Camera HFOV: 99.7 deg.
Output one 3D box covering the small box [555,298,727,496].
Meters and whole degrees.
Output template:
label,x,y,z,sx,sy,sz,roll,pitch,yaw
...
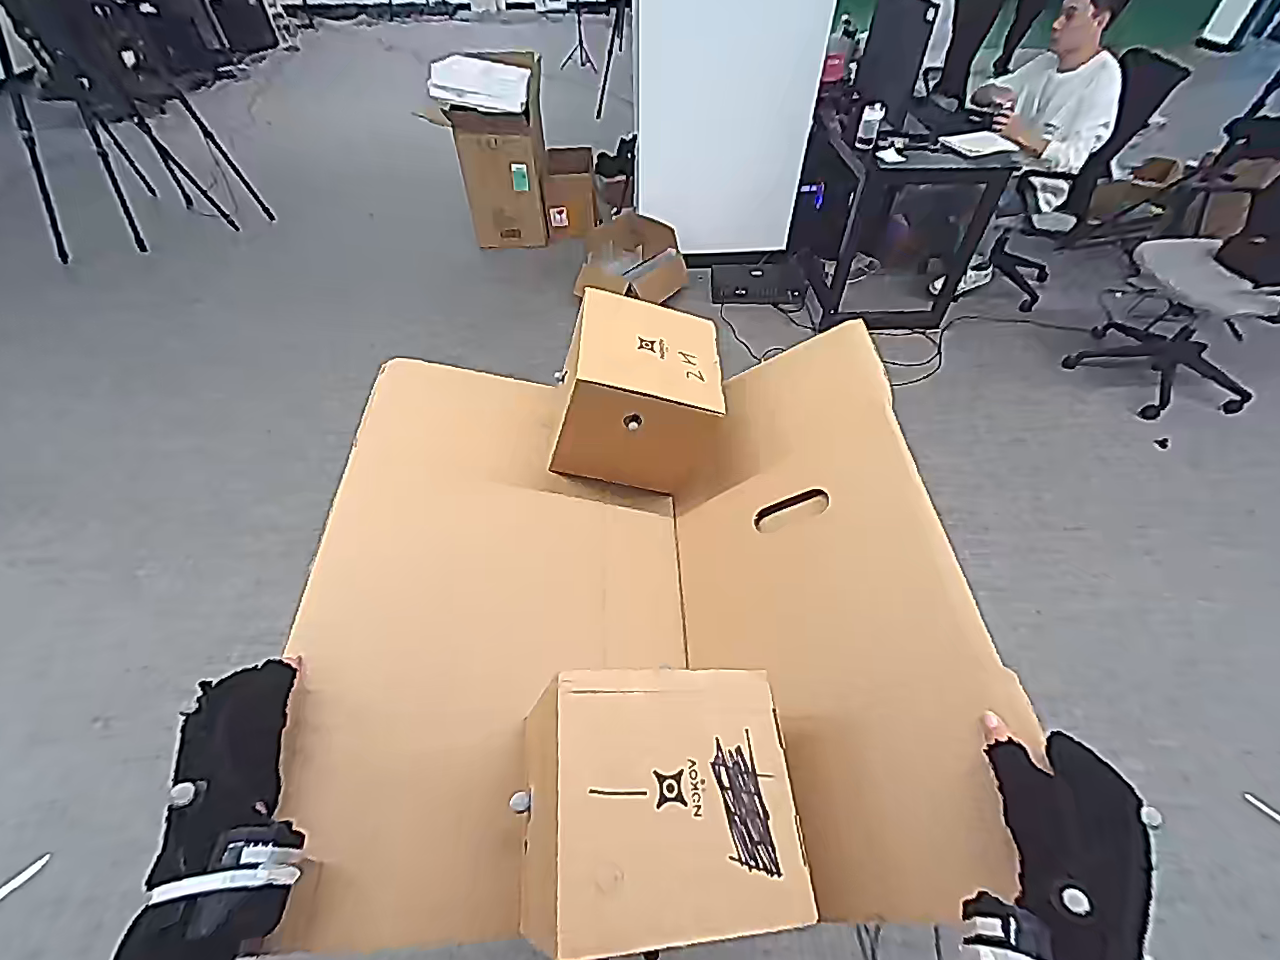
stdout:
label,x,y,z,sx,sy,sz,roll,pitch,yaw
small box,-0.005,-0.098,0.700,0.179,0.176,0.168,13,52,-14
